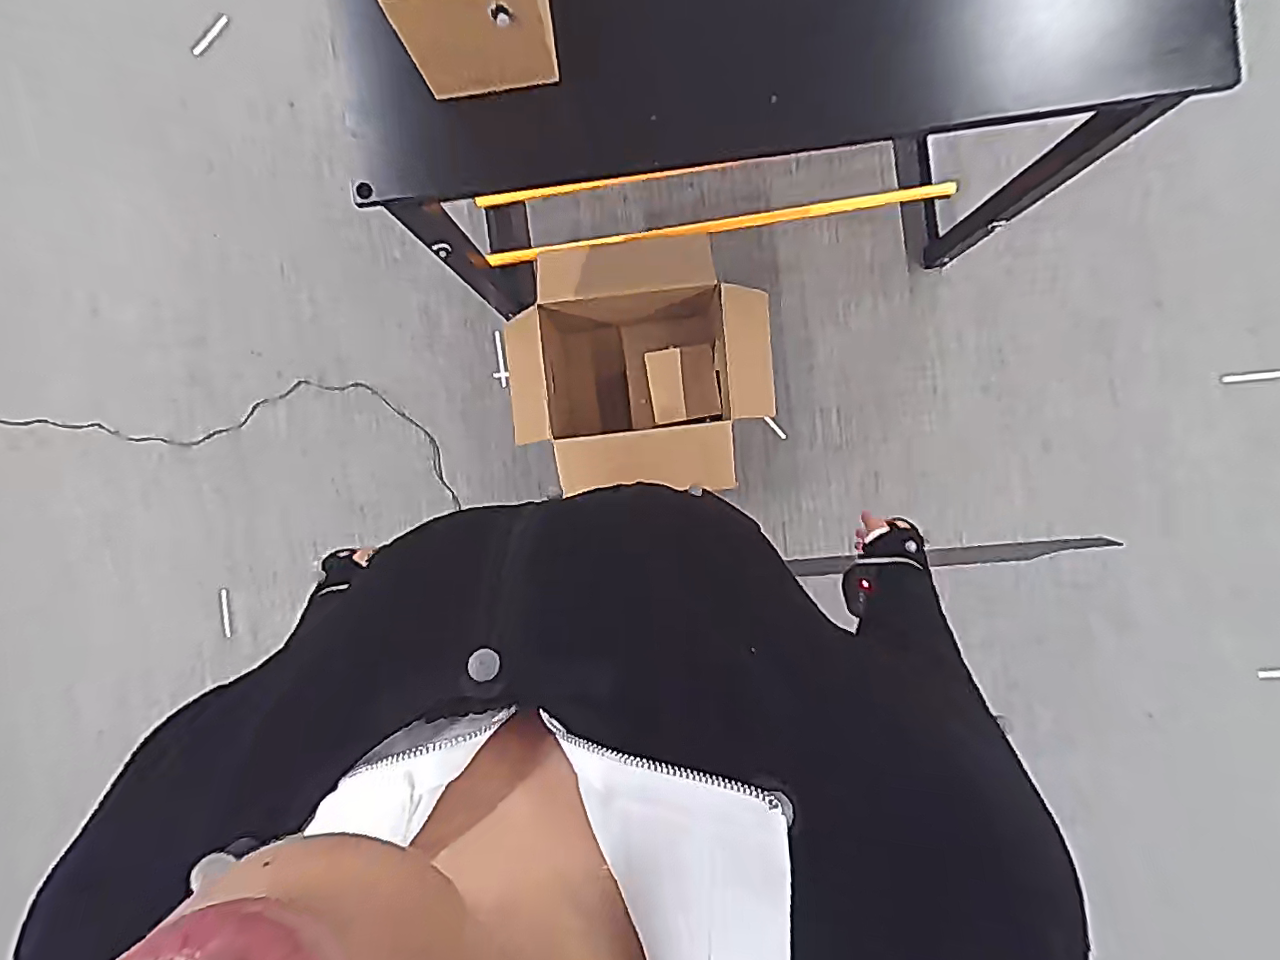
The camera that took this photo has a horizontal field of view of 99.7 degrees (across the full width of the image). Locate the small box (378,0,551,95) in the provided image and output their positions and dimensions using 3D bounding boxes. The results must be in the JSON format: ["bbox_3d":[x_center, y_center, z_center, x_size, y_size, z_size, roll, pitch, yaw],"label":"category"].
[{"bbox_3d":[-0.212,-0.620,0.669,0.179,0.176,0.168,-7,91,2],"label":"small box"}]
